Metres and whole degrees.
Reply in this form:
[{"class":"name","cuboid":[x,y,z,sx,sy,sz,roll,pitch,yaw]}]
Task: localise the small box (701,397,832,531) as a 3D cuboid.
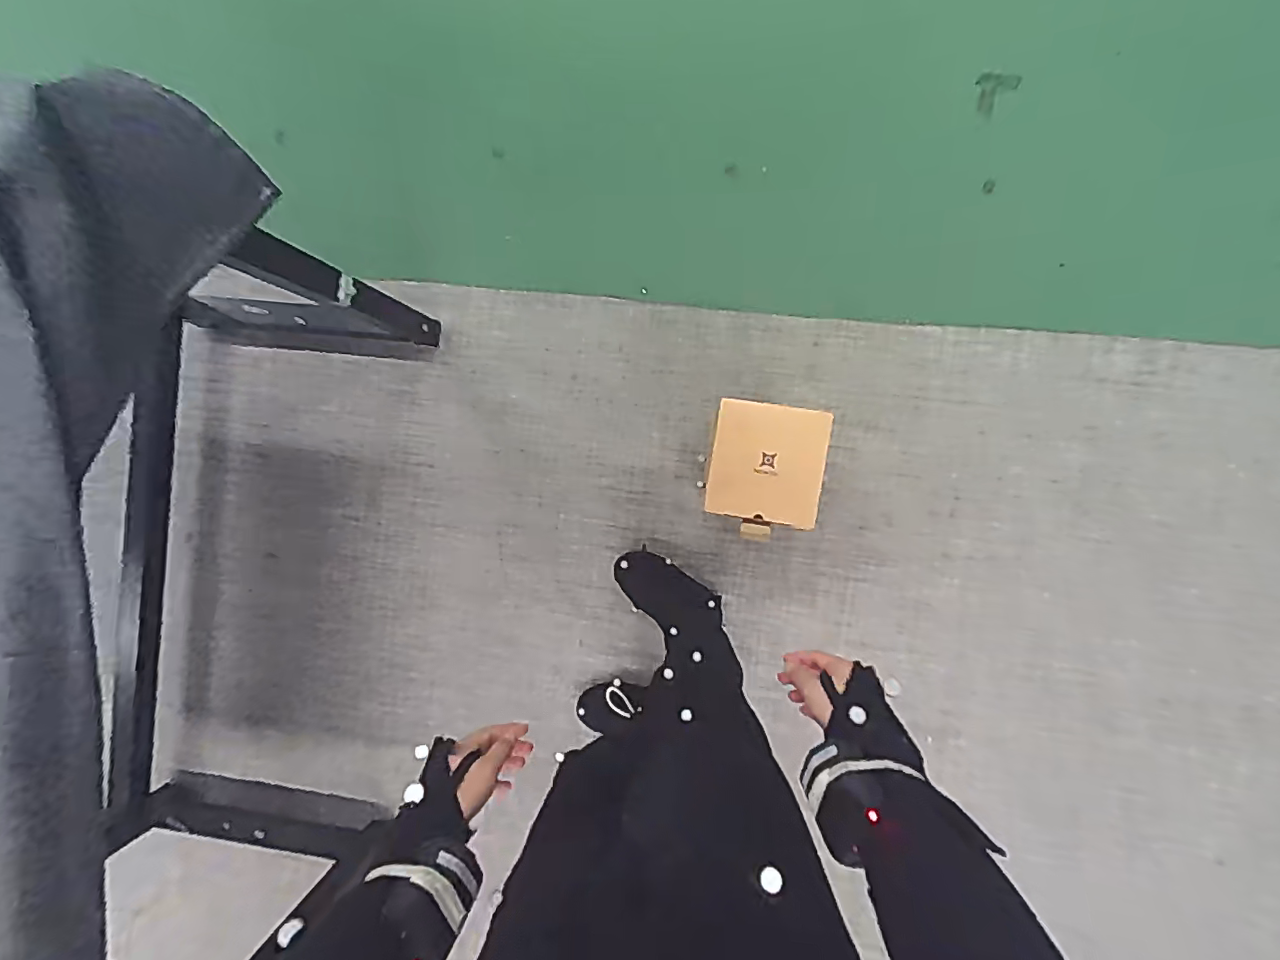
[{"class":"small box","cuboid":[0.190,-0.026,0.865,0.168,0.176,0.179,9,93,5]}]
